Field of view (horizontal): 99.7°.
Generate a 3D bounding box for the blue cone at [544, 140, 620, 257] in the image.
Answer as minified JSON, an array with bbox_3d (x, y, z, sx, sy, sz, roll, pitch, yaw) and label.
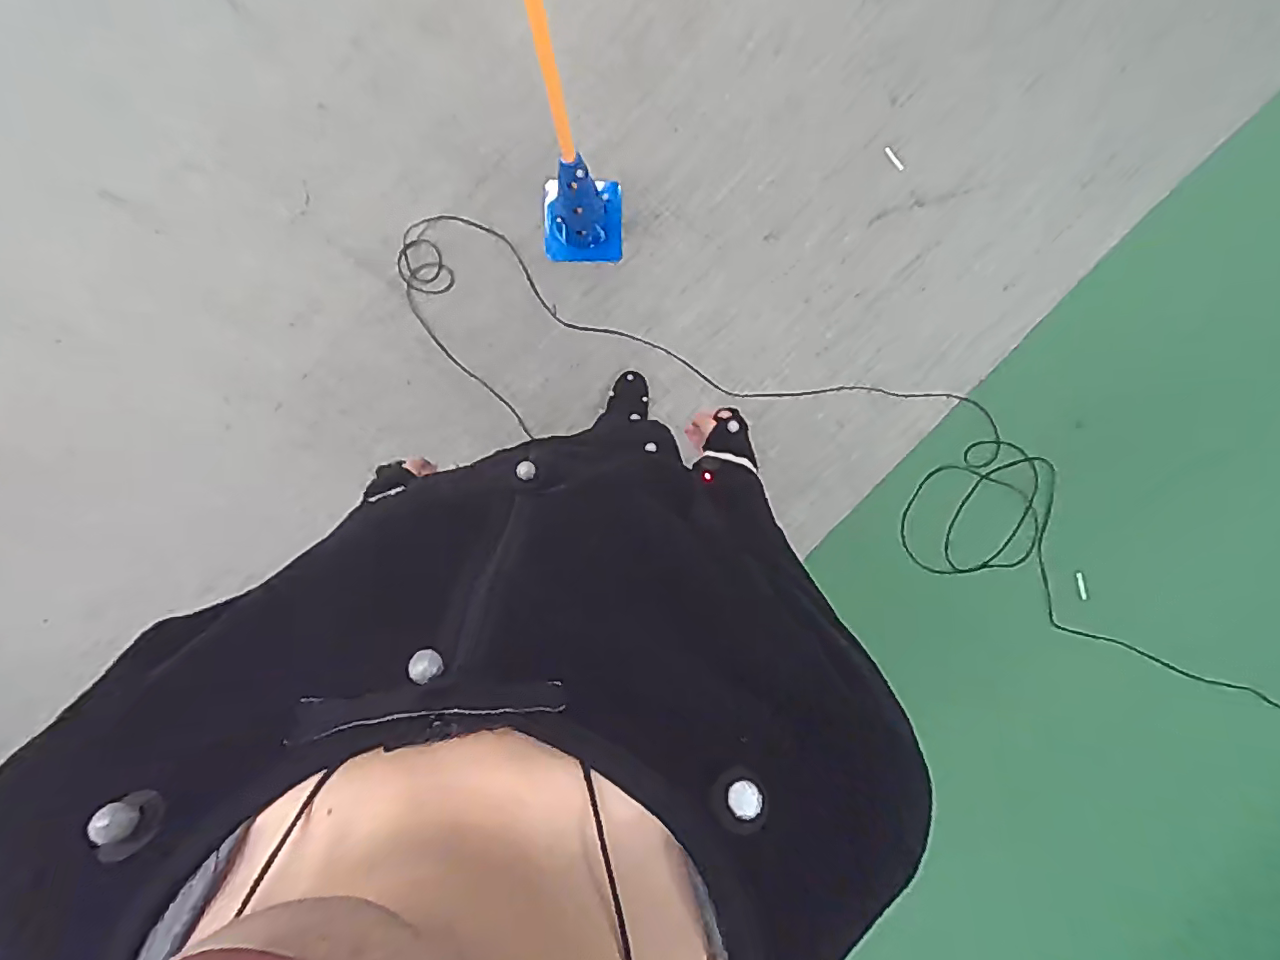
[{"bbox_3d":[-0.141,-0.650,1.215,0.192,0.380,0.193,-1,96,-2],"label":"blue cone"}]
